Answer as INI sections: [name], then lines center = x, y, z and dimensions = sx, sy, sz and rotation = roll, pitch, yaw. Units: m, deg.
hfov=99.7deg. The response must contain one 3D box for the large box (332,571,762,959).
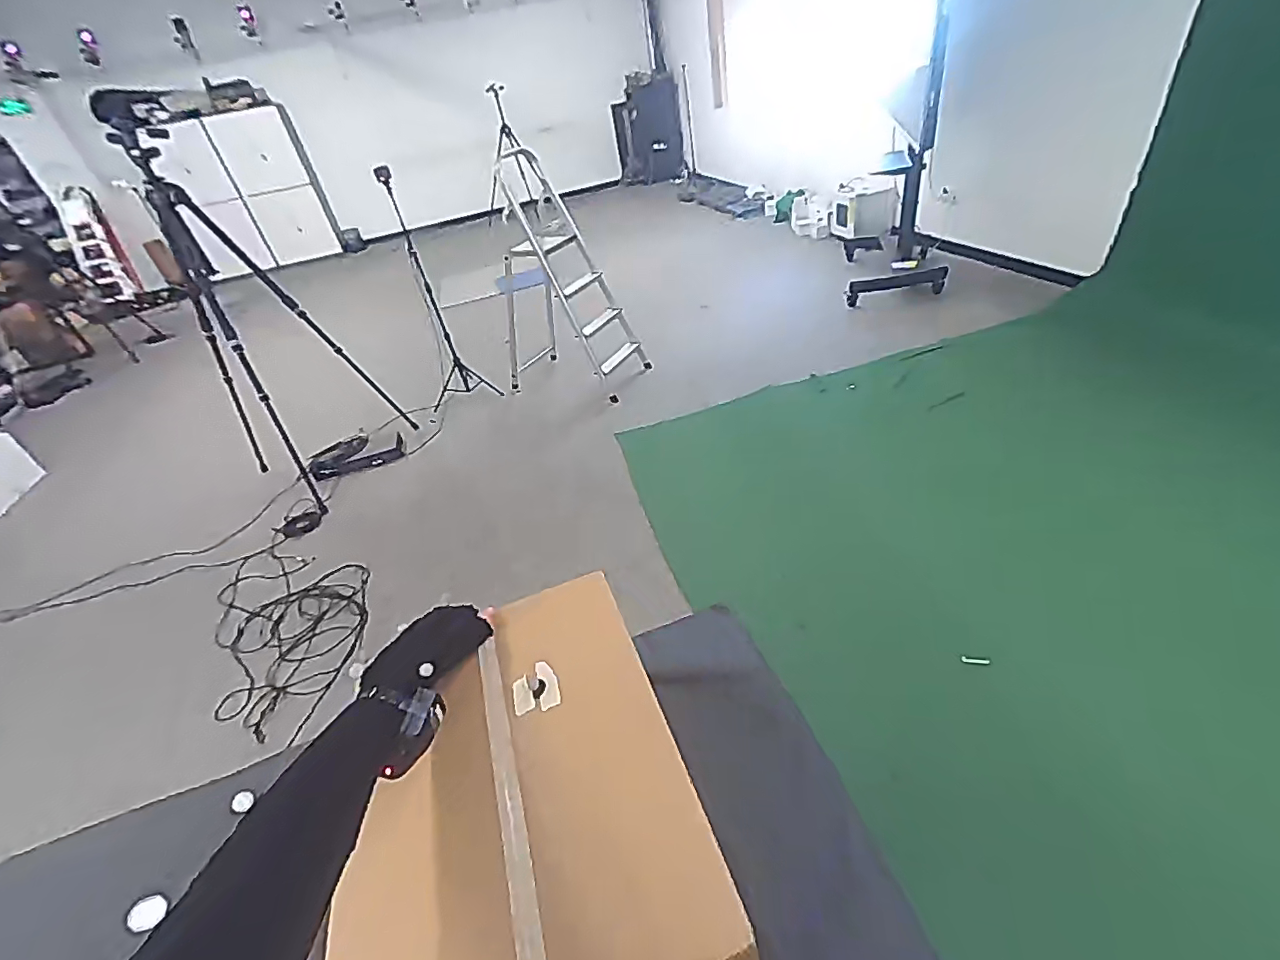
[large box]
center = -0.097, 0.385, 0.600
dimensions = 0.320, 0.320, 0.408
rotation = -20, 36, -10
